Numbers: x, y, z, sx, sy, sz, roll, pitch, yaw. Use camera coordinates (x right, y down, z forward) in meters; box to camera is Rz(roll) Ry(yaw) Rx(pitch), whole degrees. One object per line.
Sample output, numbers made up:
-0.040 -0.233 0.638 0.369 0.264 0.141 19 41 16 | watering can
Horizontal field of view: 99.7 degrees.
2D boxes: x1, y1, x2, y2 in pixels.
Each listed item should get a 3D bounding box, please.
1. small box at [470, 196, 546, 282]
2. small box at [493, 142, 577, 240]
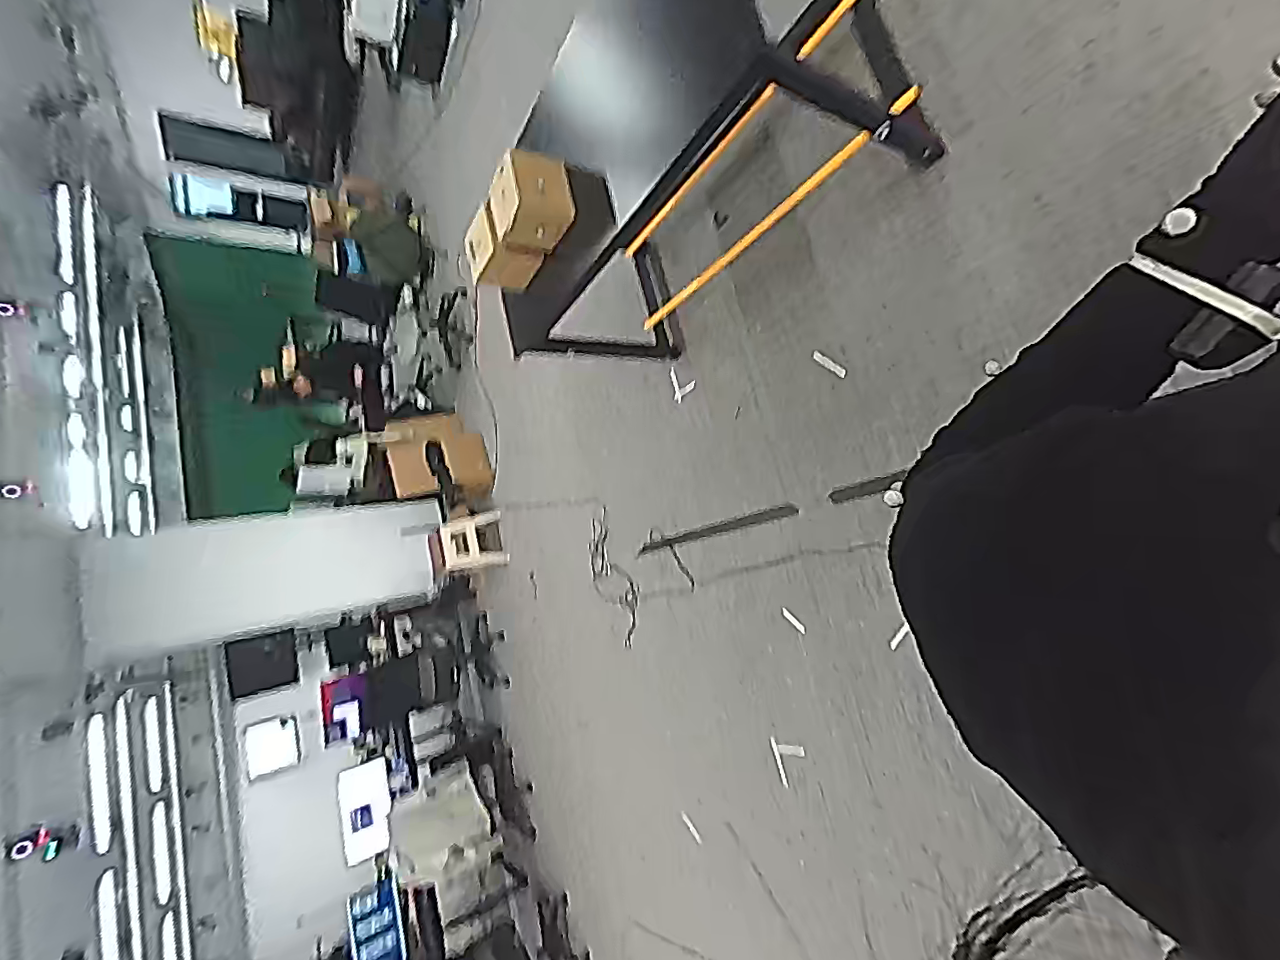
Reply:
-0.414 -0.746 1.699 0.179 0.176 0.168 -29 72 51 | small box
-0.295 -0.805 1.530 0.168 0.176 0.179 -25 75 53 | small box
